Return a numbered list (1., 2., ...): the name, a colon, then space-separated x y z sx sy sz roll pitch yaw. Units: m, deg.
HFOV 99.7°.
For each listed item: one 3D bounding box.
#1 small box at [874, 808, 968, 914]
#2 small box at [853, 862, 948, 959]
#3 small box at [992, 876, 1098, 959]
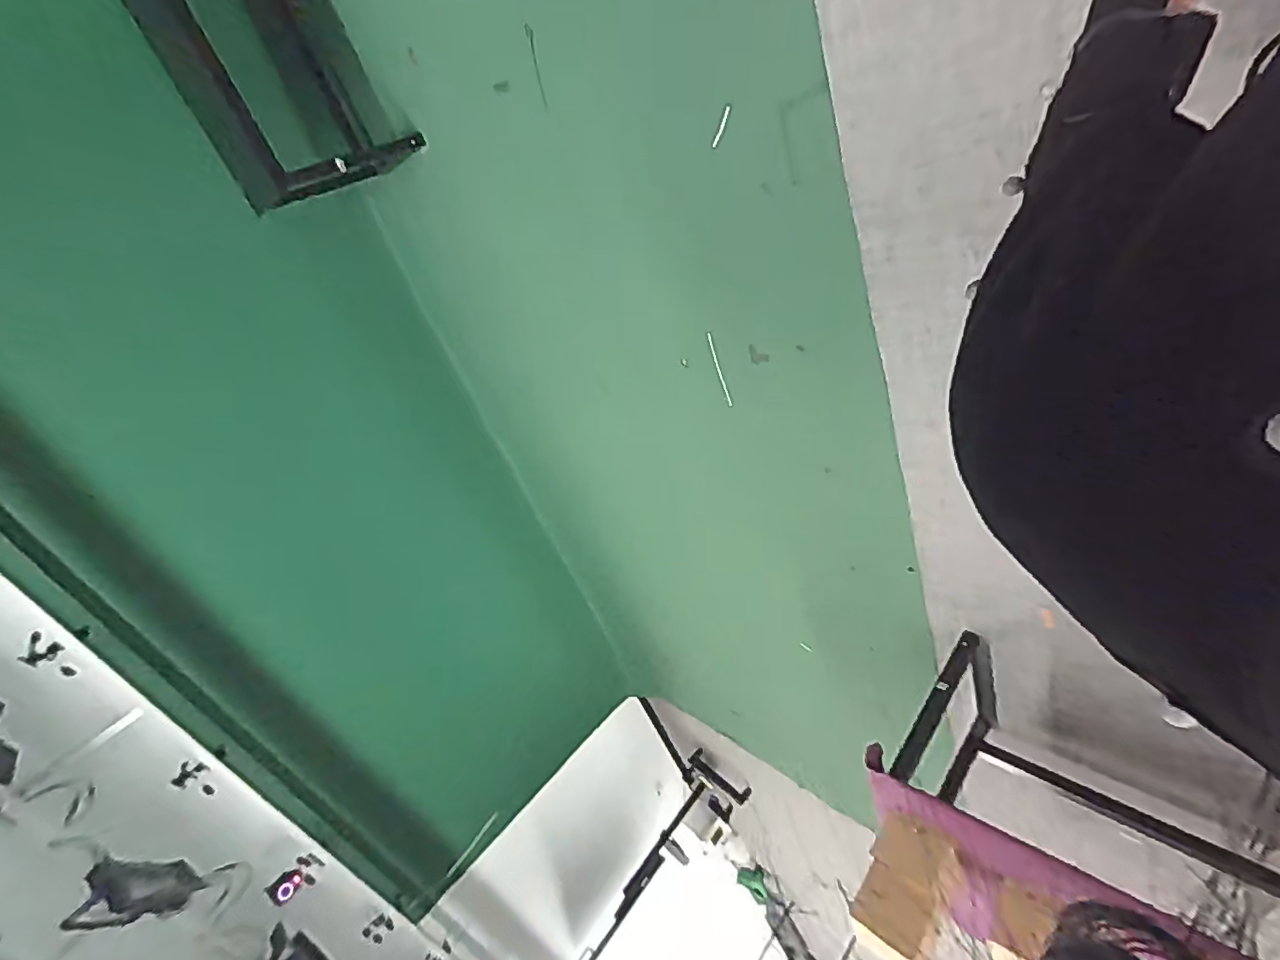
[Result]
1. small box: 0.811 1.091 1.558 0.179 0.176 0.168 6 129 51
2. small box: 0.711 1.190 1.473 0.179 0.176 0.168 13 134 47
3. small box: 1.011 1.149 1.345 0.168 0.176 0.179 3 127 53
